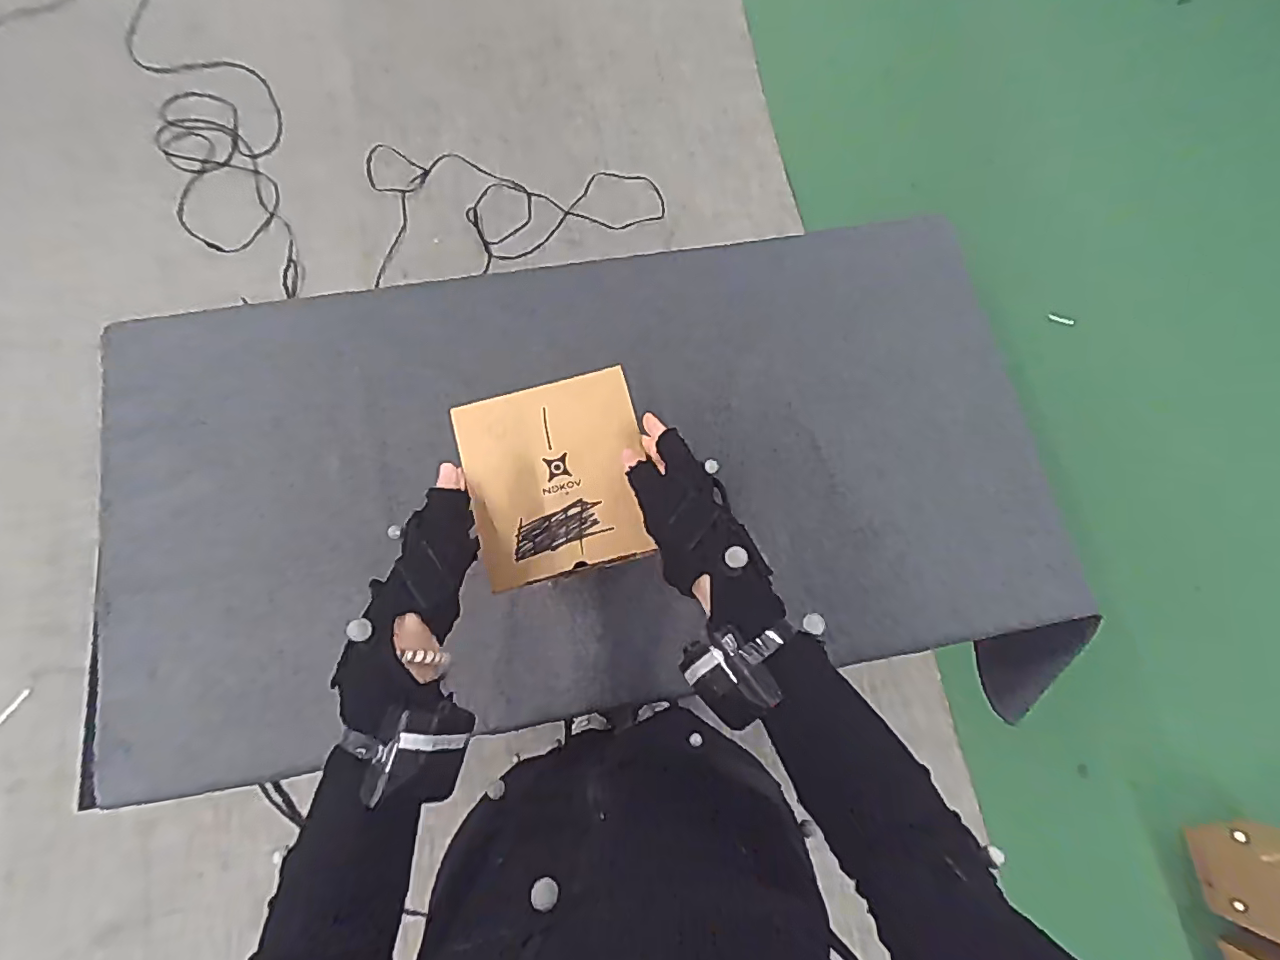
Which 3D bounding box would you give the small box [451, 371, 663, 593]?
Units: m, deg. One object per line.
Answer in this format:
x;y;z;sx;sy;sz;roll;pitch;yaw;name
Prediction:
-0.077;0.008;0.574;0.168;0.176;0.179;-15;84;-3;small box

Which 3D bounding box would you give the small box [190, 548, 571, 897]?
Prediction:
-0.180;0.187;0.417;0.176;0.168;0.179;-23;31;22;small box
